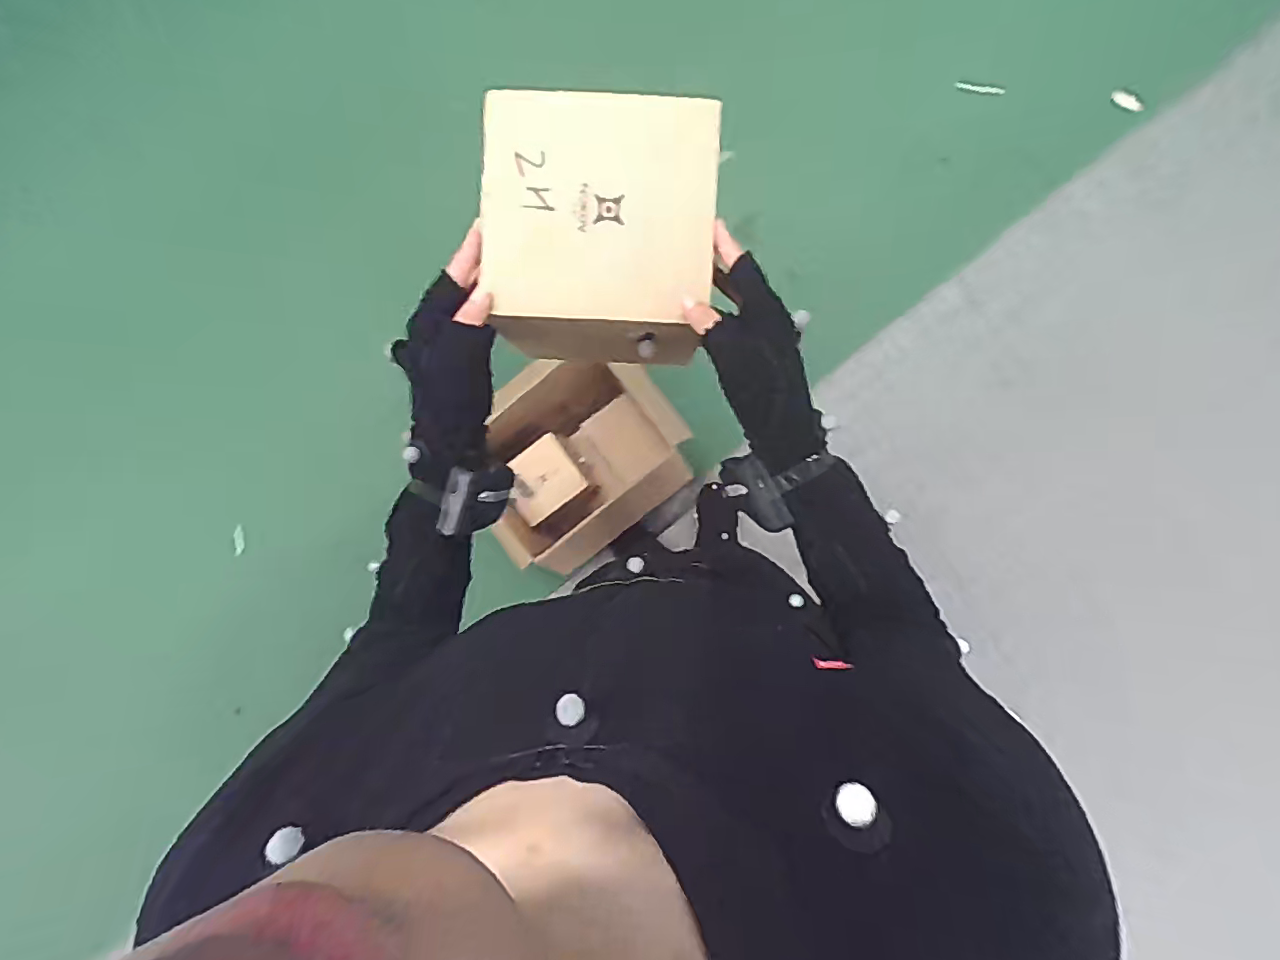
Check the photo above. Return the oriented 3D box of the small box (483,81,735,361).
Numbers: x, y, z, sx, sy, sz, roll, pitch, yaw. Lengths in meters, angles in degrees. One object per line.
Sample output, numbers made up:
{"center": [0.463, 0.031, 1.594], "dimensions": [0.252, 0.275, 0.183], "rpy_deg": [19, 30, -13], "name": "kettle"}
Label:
{"center": [-0.023, -0.203, 0.472], "dimensions": [0.179, 0.176, 0.168], "rpy_deg": [4, 92, 1], "name": "small box"}
